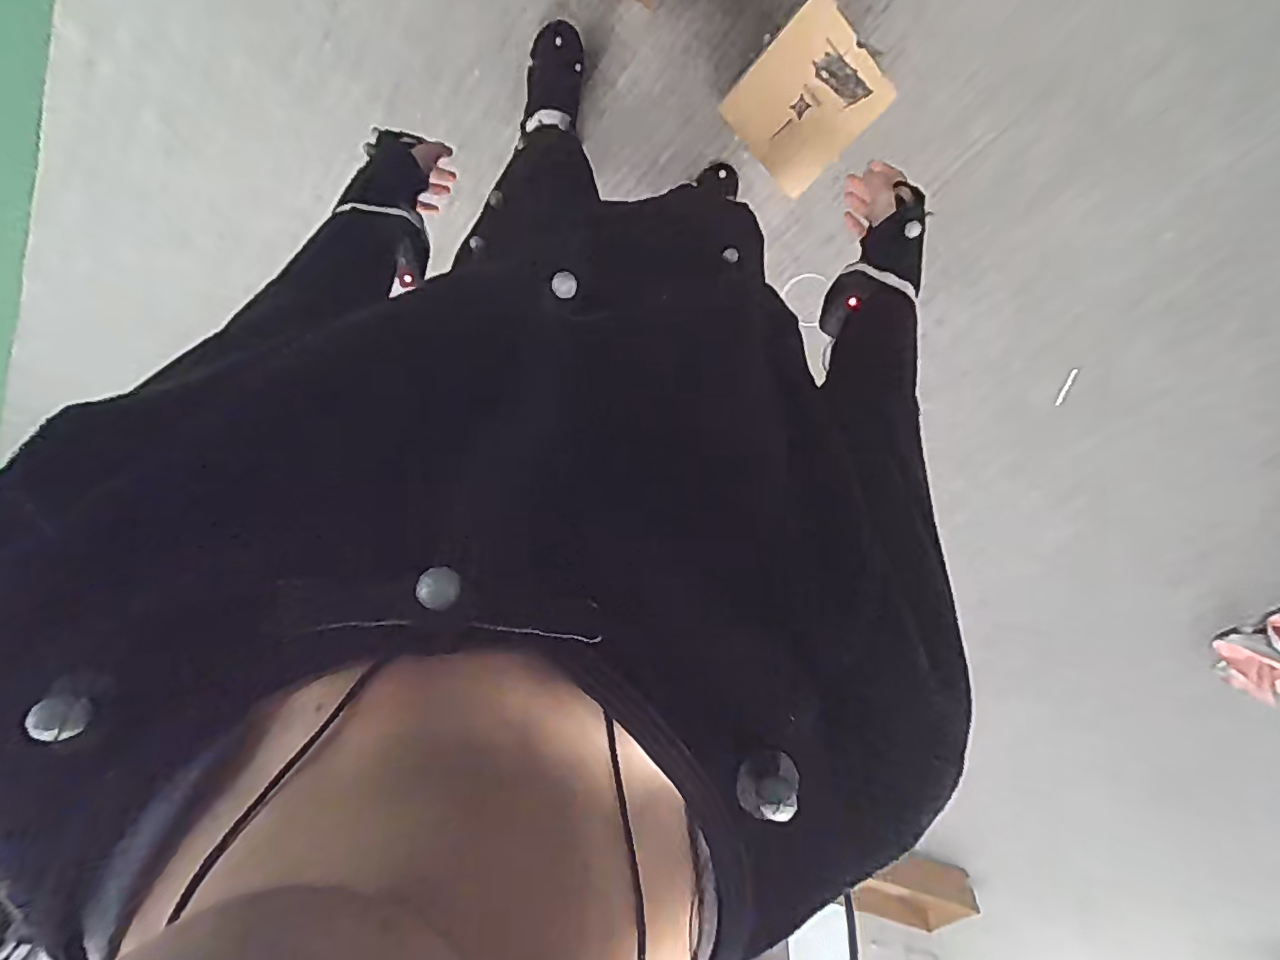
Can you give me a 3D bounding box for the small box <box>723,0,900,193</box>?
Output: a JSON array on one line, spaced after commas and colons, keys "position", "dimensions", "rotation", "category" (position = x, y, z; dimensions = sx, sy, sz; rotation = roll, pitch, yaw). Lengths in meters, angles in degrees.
[{"position": [0.235, -0.559, 0.786], "dimensions": [0.168, 0.176, 0.179], "rotation": [41, 121, -17], "category": "small box"}]
